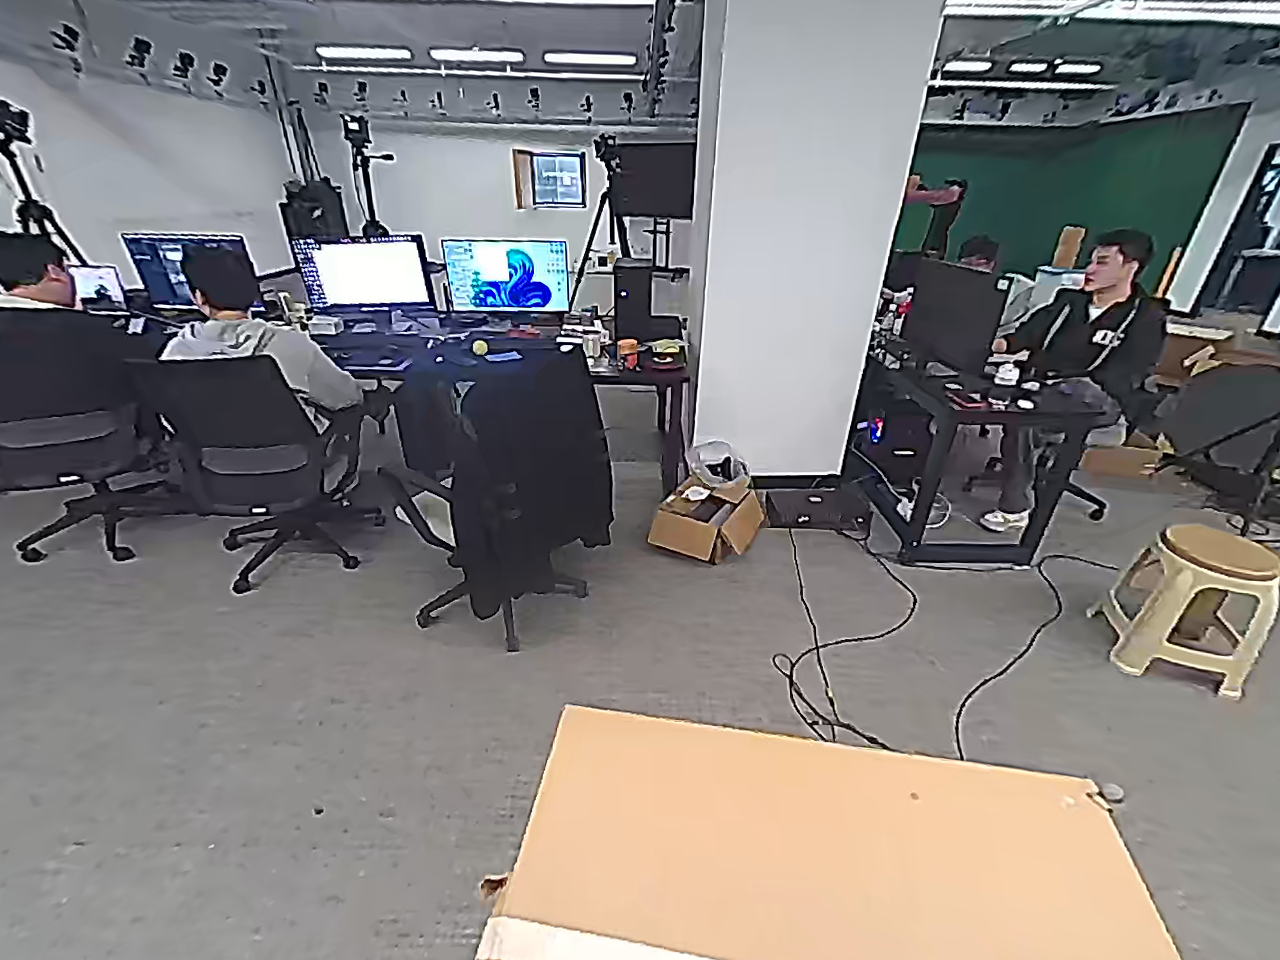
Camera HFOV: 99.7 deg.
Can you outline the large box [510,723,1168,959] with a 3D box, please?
[{"bbox_3d":[0.115,0.427,0.400,0.408,0.320,0.320,5,38,7],"label":"large box"}]
